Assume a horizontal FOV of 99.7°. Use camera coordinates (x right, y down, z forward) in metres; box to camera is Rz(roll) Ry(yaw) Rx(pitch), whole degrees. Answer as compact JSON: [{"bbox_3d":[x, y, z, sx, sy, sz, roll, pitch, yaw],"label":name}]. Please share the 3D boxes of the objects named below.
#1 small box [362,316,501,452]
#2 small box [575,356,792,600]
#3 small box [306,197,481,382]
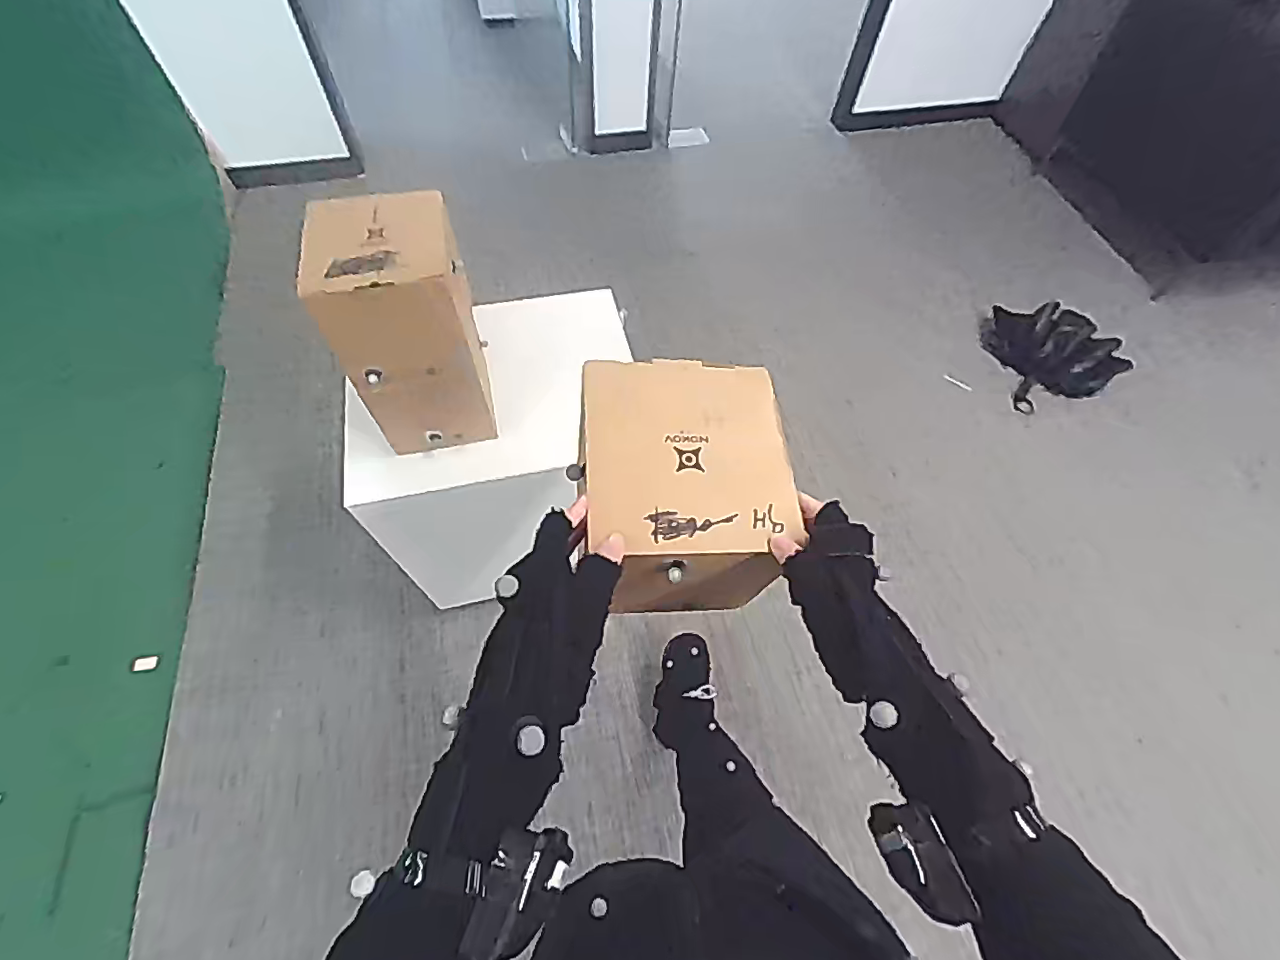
[{"bbox_3d":[-0.326,-0.171,0.860,0.168,0.176,0.179,-12,63,-9],"label":"small box"},{"bbox_3d":[0.023,0.005,0.518,0.168,0.176,0.179,0,62,-8],"label":"small box"},{"bbox_3d":[-0.319,-0.247,0.732,0.168,0.176,0.179,-10,59,-8],"label":"small box"}]
